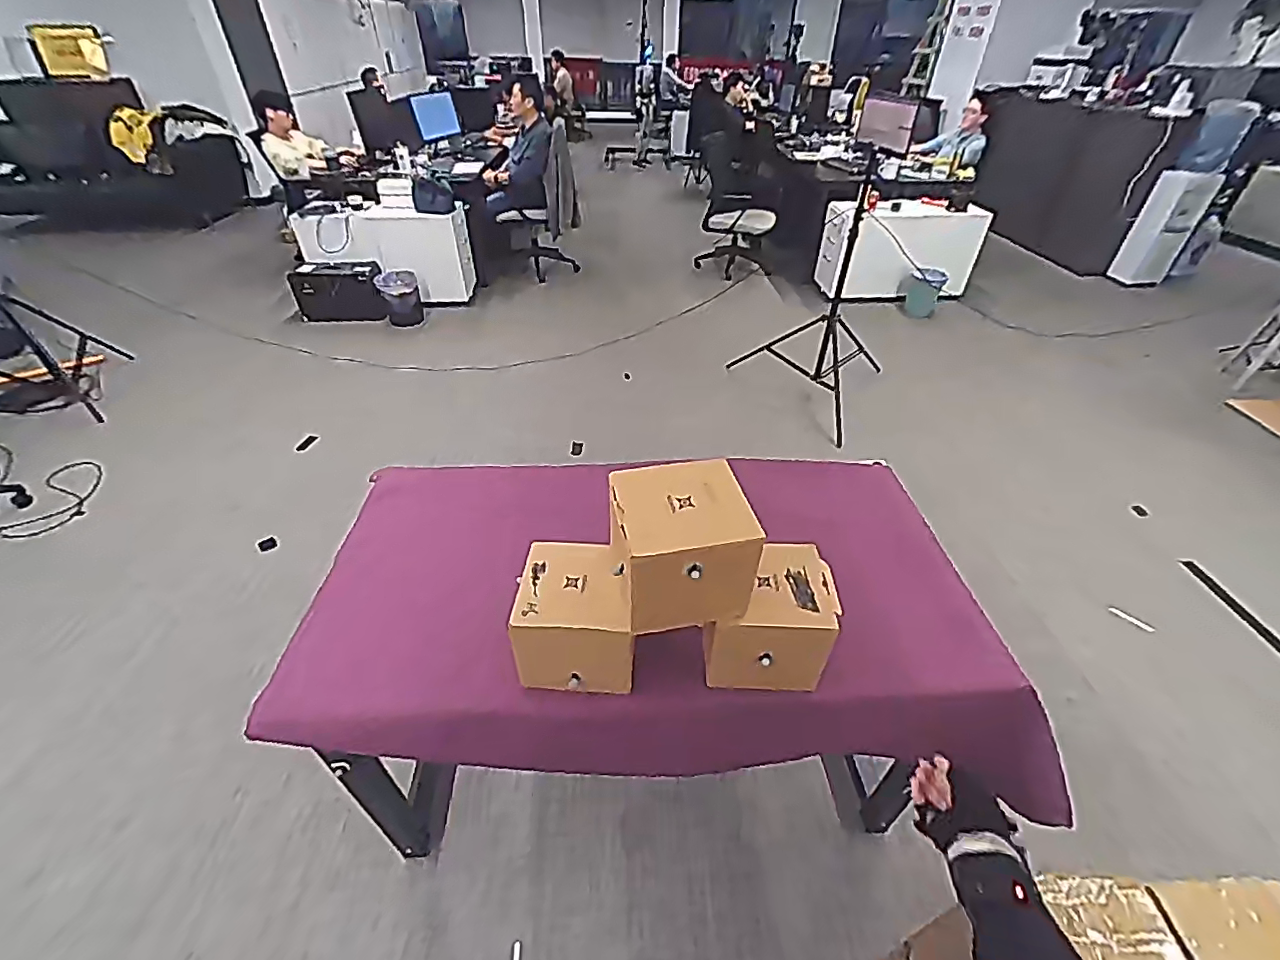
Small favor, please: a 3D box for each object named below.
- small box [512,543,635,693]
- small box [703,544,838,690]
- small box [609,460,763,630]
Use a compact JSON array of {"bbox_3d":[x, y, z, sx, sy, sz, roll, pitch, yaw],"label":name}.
[{"bbox_3d":[-0.094,0.223,0.872,0.179,0.176,0.168,4,38,1],"label":"small box"},{"bbox_3d":[0.198,0.222,0.876,0.179,0.176,0.168,1,38,2],"label":"small box"},{"bbox_3d":[0.055,0.094,0.775,0.179,0.176,0.168,-7,41,-10],"label":"small box"}]
